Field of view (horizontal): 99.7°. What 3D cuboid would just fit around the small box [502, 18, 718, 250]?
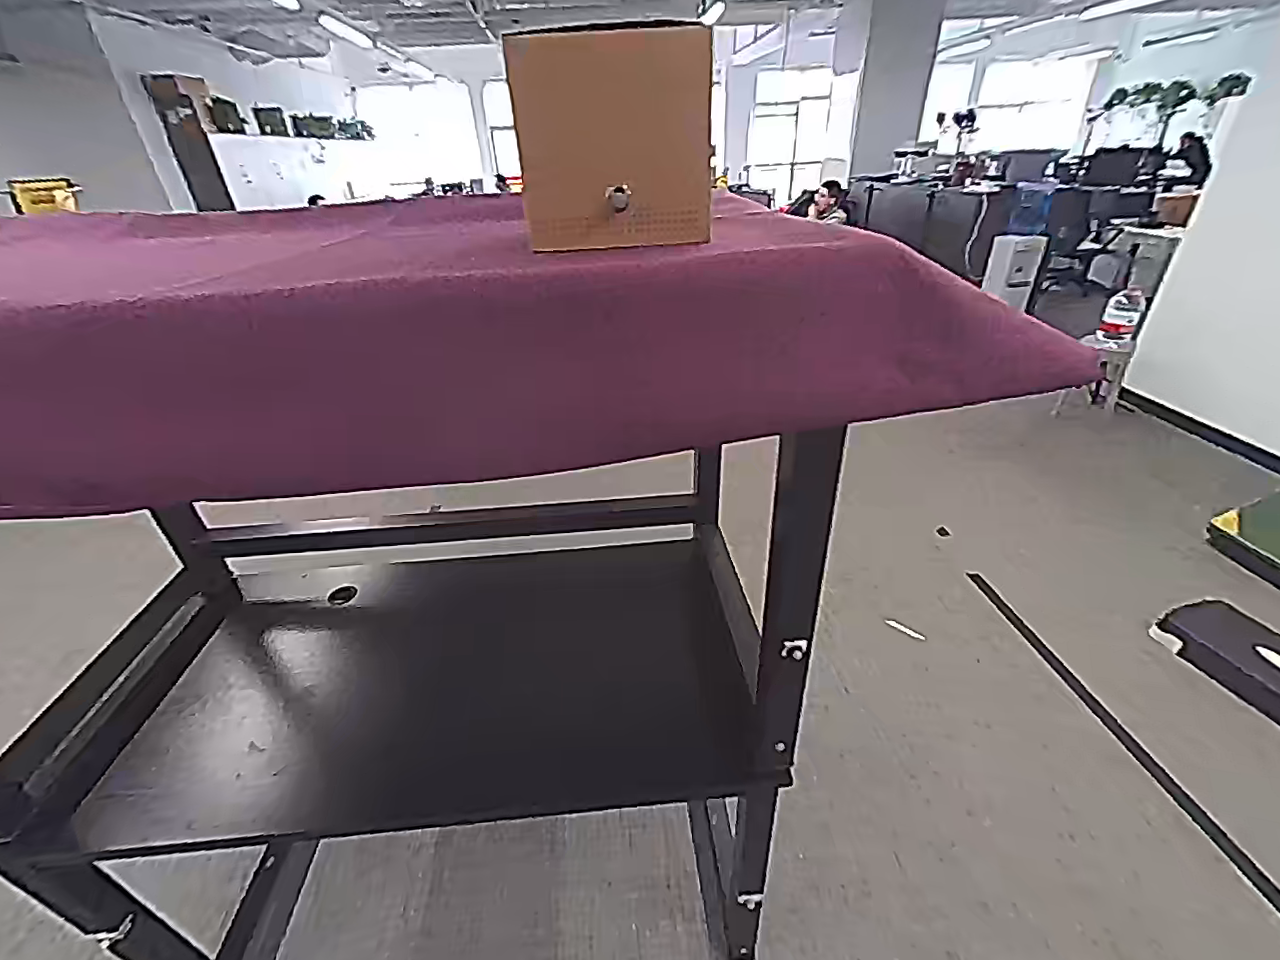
[{"bbox_3d":[-0.024,-0.333,0.540,0.179,0.176,0.168,-4,30,-1],"label":"small box"}]
